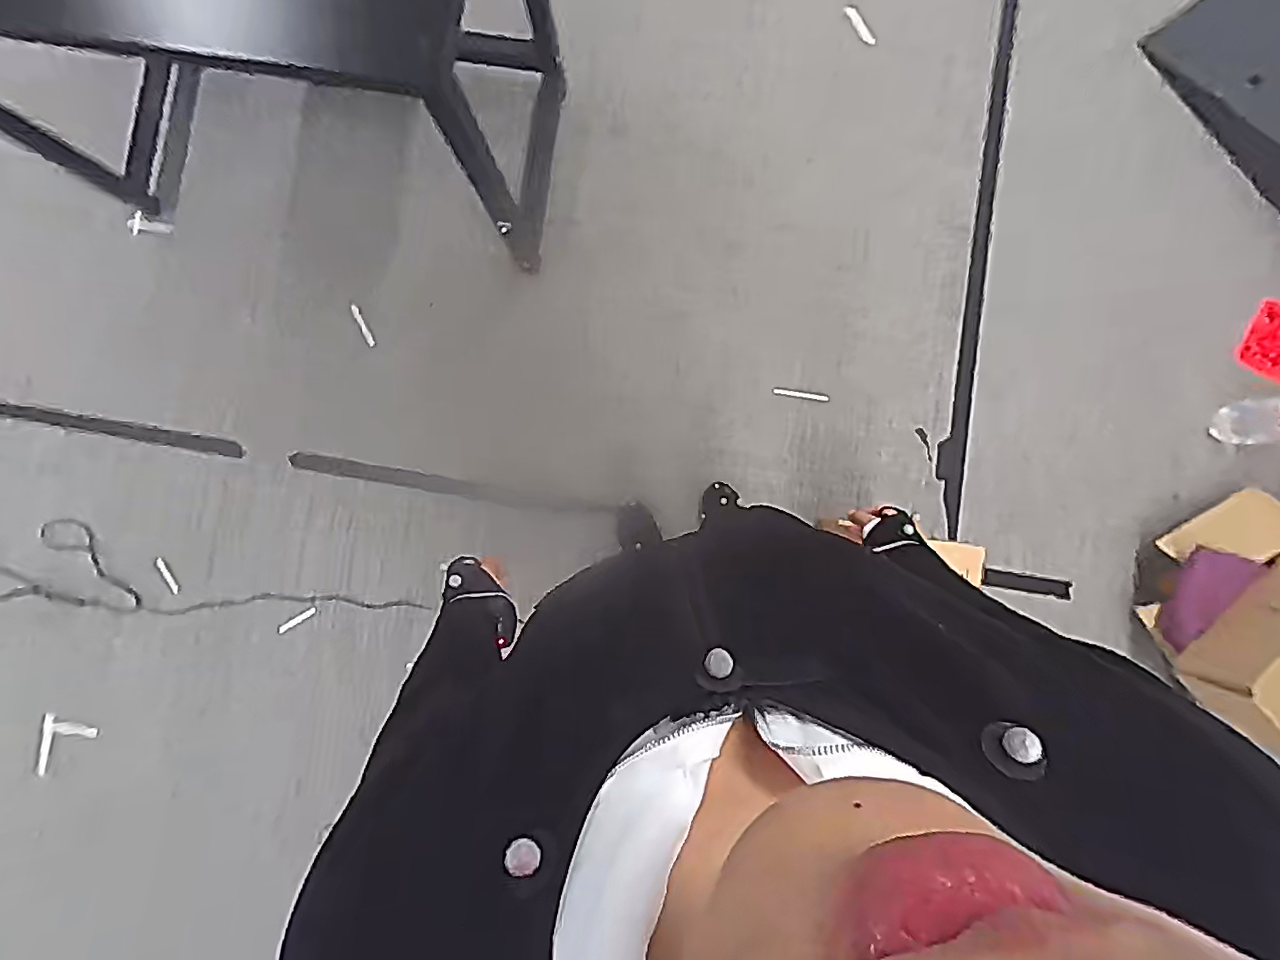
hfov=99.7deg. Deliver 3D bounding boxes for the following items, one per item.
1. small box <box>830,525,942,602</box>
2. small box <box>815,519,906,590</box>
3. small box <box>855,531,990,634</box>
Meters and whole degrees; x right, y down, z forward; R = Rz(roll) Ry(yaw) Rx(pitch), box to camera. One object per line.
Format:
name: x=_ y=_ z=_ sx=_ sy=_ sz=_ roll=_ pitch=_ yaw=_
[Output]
small box: x=0.559 y=0.196 z=1.243 sx=0.179 sy=0.176 sz=0.168 roll=7 pitch=88 yaw=1
small box: x=0.567 y=0.200 z=1.407 sx=0.168 sy=0.176 sz=0.179 roll=8 pitch=87 yaw=2
small box: x=0.553 y=0.195 z=1.078 sx=0.179 sy=0.176 sz=0.168 roll=7 pitch=88 yaw=3
